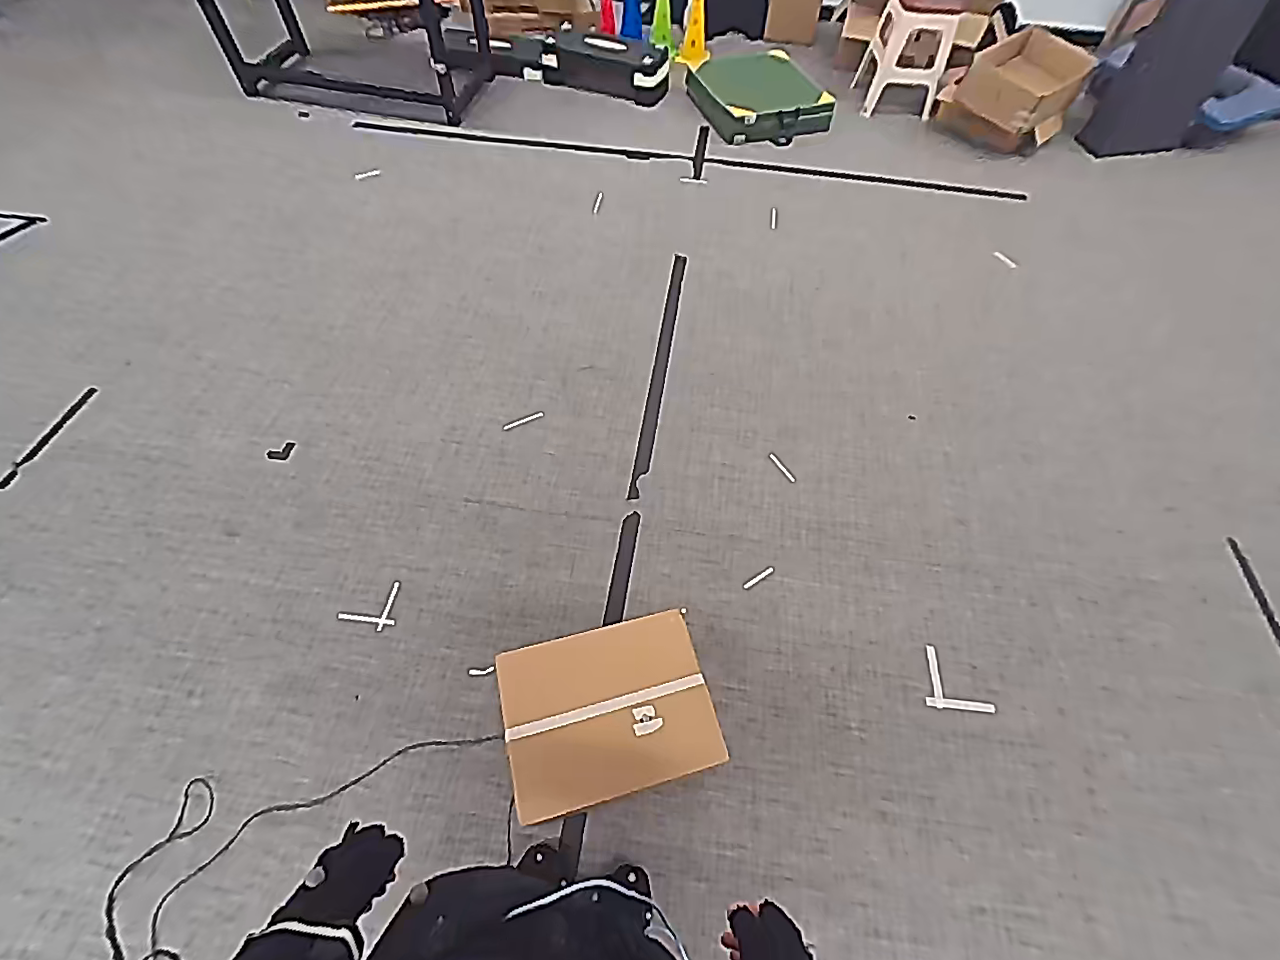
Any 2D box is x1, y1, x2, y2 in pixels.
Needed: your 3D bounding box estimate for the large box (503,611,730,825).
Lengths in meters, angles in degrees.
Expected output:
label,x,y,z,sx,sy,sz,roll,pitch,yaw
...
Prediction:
label,x,y,z,sx,sy,sz,roll,pitch,yaw
large box,-0.064,0.533,1.204,0.408,0.320,0.320,-11,60,-11
